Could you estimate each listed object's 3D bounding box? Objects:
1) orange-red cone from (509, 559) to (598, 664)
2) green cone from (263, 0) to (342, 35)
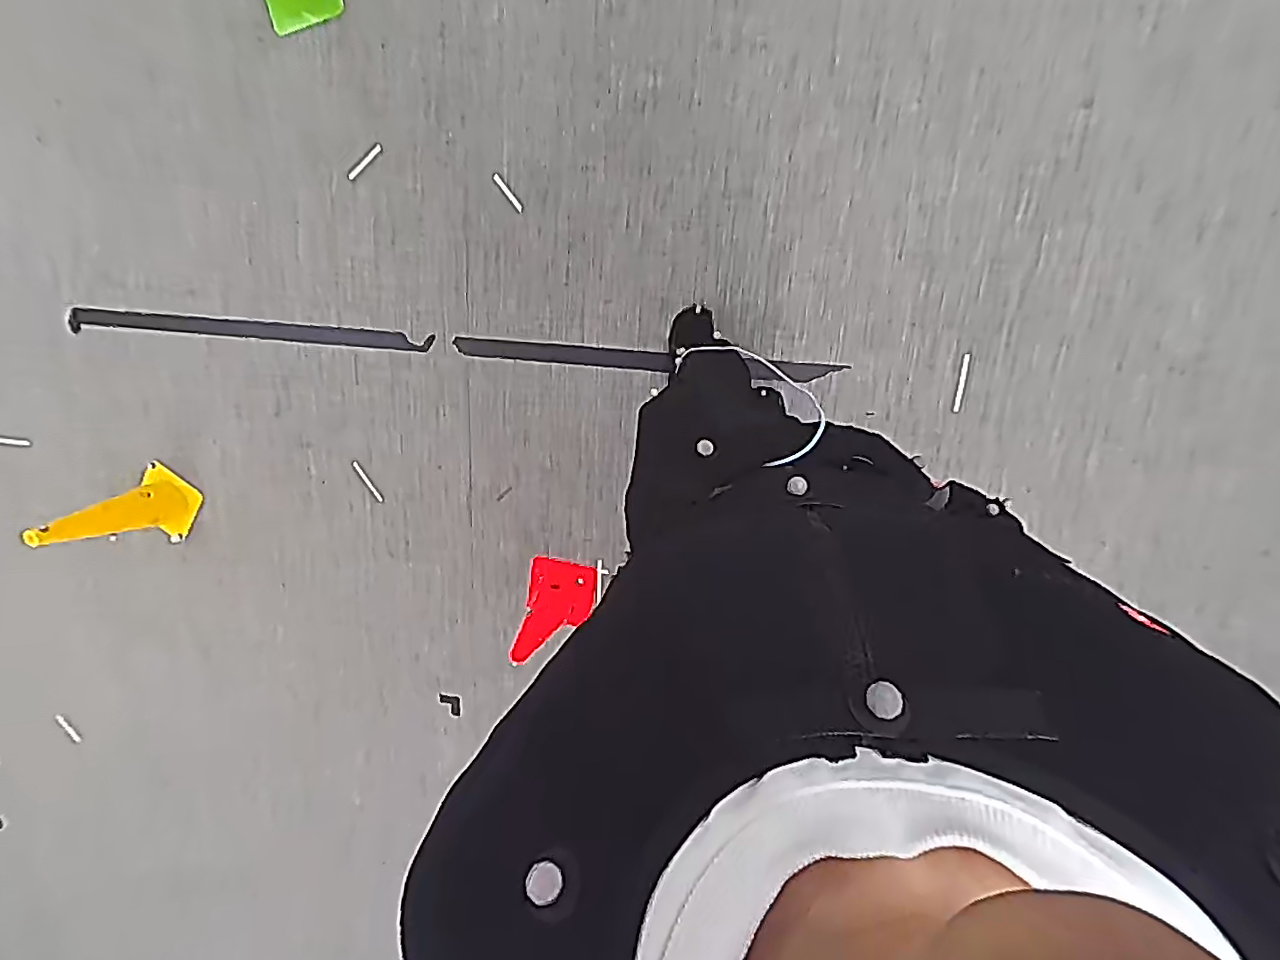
[{"bbox_3d":[-0.258,0.371,1.408,0.199,0.360,0.198,13,103,7],"label":"orange-red cone"},{"bbox_3d":[-0.865,-1.185,1.161,0.202,0.368,0.200,-11,101,10],"label":"green cone"}]
